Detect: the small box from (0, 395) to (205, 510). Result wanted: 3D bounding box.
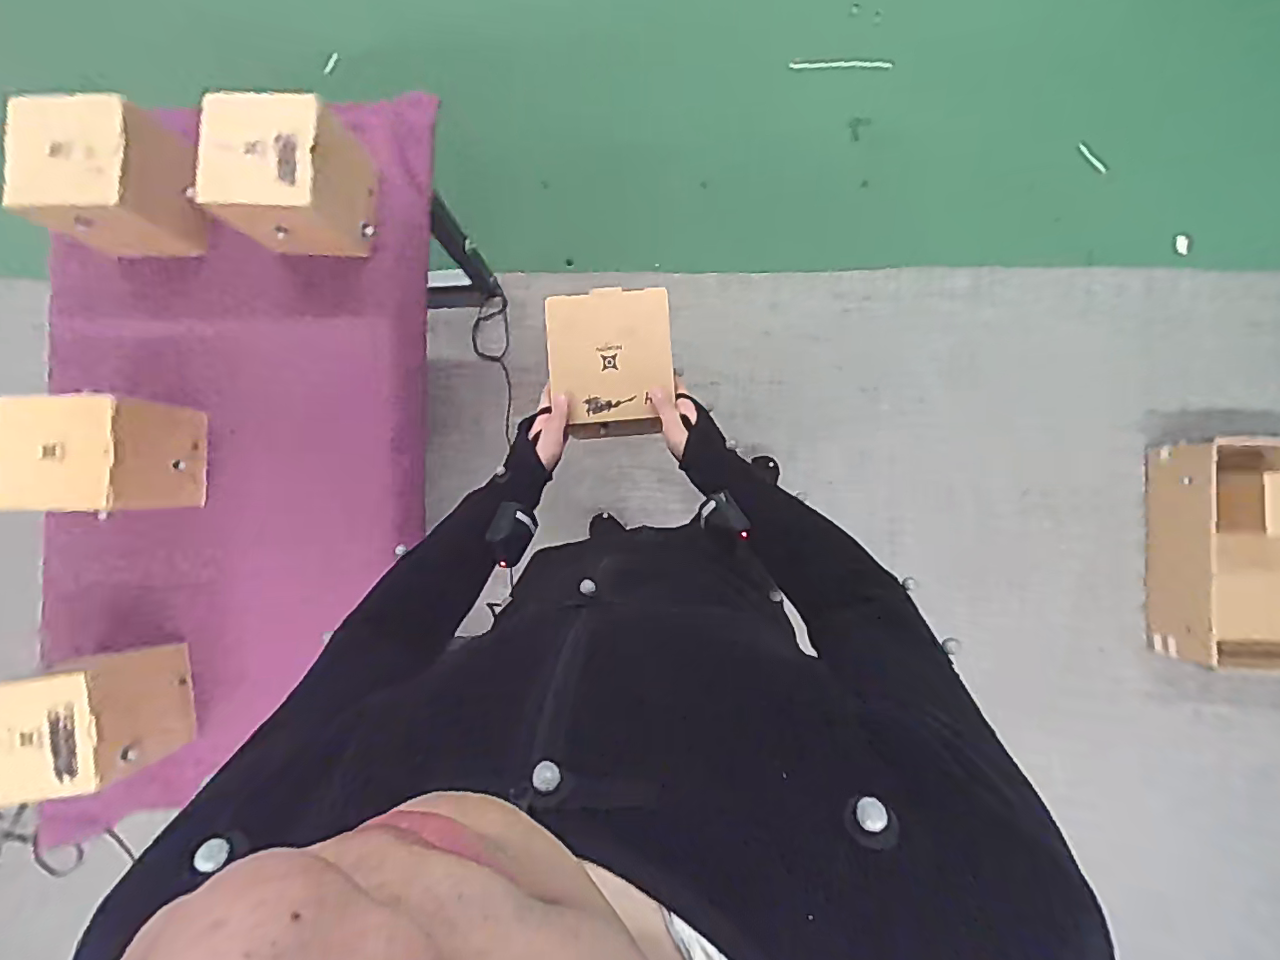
[{"bbox_3d":[-0.839,-0.036,0.850,0.179,0.176,0.168,-1,88,0],"label":"small box"}]

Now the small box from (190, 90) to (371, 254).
[{"bbox_3d":[-0.553,-0.474,0.855,0.179,0.176,0.168,3,89,3],"label":"small box"}]

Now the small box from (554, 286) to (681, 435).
[{"bbox_3d":[-0.028,-0.165,0.791,0.168,0.176,0.179,-3,89,3],"label":"small box"}]

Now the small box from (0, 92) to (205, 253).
[{"bbox_3d":[-0.845,-0.477,0.861,0.179,0.176,0.168,0,89,0],"label":"small box"}]
